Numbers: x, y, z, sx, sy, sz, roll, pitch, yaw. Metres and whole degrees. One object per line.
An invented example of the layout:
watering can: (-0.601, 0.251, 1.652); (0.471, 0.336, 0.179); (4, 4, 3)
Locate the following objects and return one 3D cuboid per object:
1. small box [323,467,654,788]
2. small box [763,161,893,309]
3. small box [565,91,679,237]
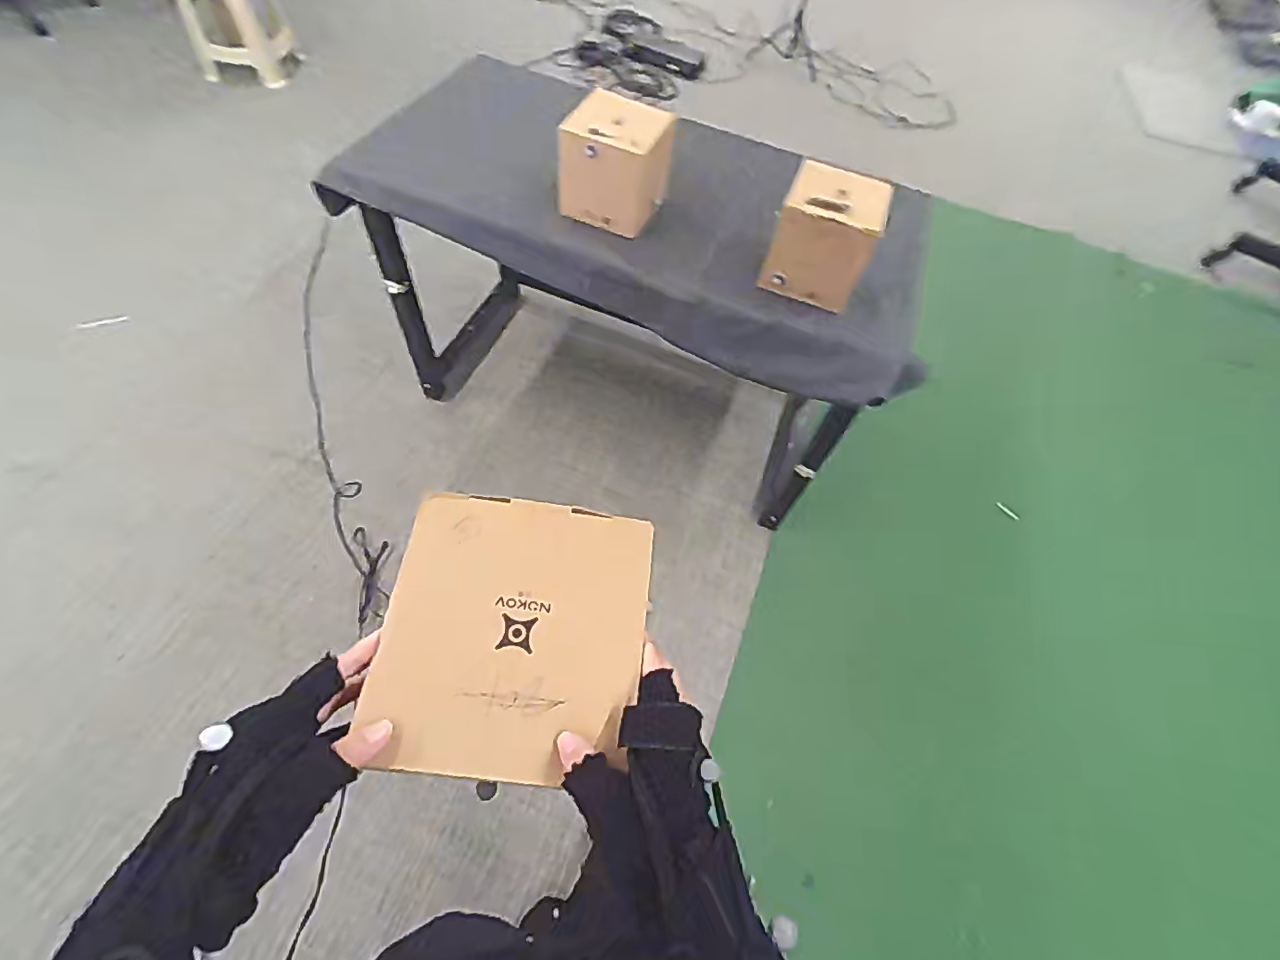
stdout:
small box: (-0.091, 0.116, 0.402); (0.168, 0.176, 0.179); (9, 63, -3)
small box: (0.343, -0.451, 1.009); (0.168, 0.176, 0.179); (22, 57, 7)
small box: (-0.040, -0.616, 1.061); (0.168, 0.176, 0.179); (22, 58, 7)
